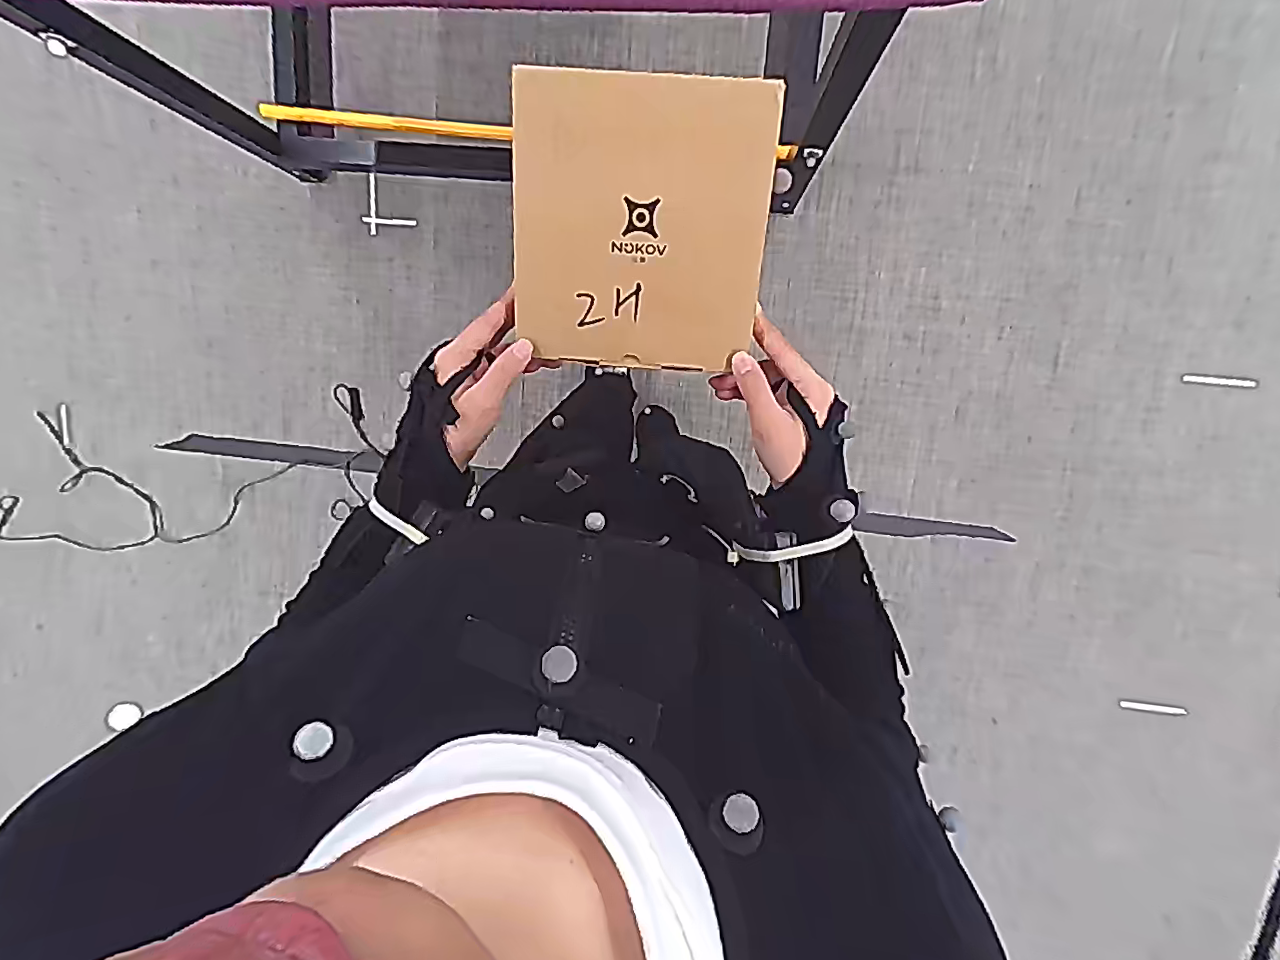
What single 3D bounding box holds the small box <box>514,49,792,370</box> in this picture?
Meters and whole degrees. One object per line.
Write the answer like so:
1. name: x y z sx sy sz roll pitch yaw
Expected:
1. small box: 0.006 -0.190 0.421 0.168 0.176 0.179 6 109 2
